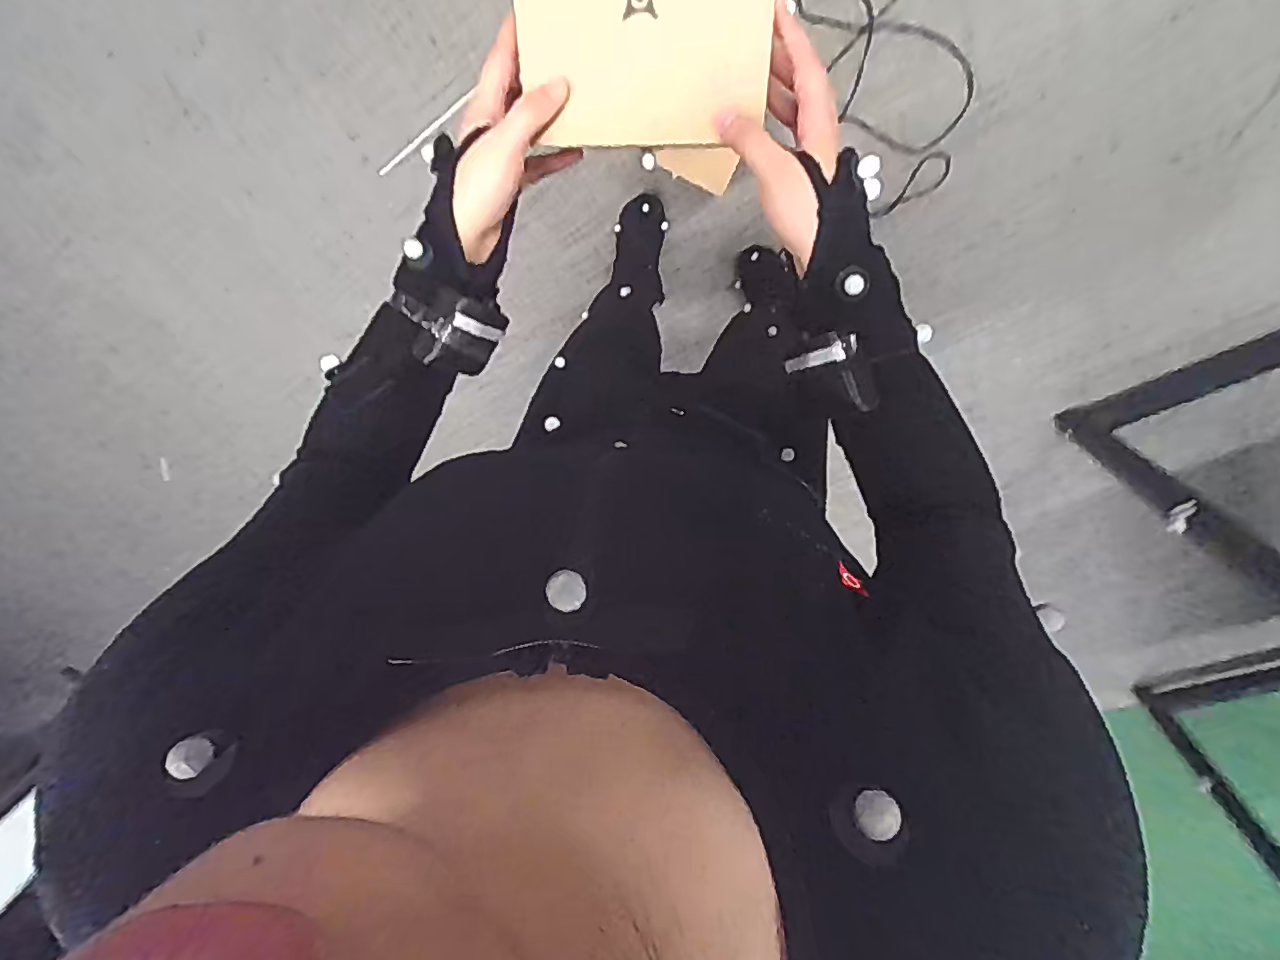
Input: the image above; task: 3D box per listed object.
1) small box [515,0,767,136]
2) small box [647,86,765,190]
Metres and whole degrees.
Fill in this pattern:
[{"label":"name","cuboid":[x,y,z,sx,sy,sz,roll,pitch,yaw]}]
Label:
[{"label":"small box","cuboid":[0.011,-0.362,0.403,0.168,0.176,0.179,4,122,6]},{"label":"small box","cuboid":[0.130,-0.702,1.066,0.168,0.176,0.179,23,122,-6]}]
